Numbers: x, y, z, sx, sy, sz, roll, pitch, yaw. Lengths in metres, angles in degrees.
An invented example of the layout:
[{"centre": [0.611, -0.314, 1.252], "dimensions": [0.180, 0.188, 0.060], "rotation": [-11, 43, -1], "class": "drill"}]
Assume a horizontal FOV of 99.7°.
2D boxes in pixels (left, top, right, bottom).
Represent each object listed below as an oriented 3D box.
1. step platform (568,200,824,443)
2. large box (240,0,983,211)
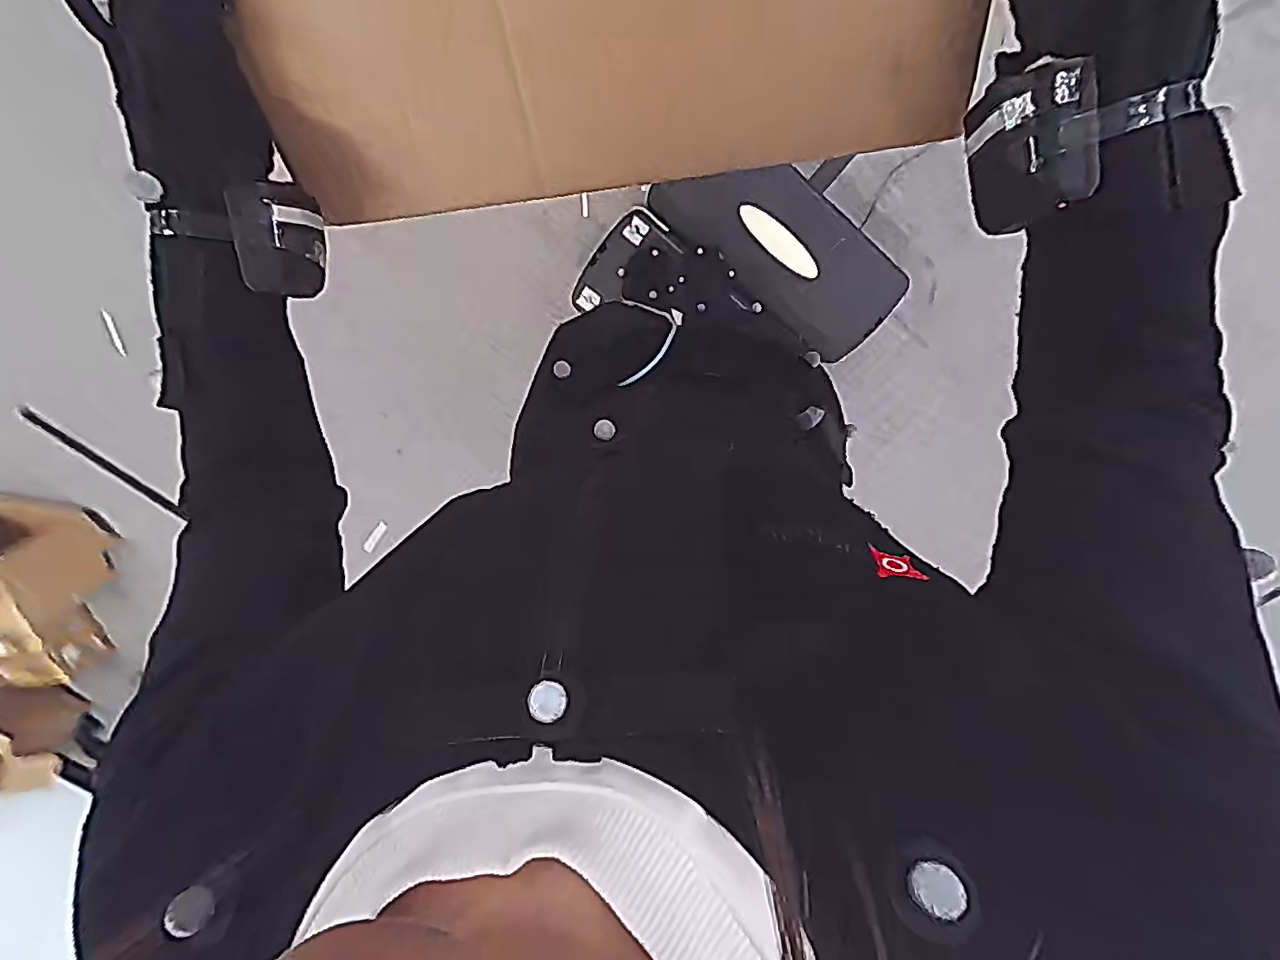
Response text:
[{"centre": [0.149, -0.402, 1.421], "dimensions": [0.684, 0.204, 0.286], "rotation": [37, 114, -8], "class": "step platform"}, {"centre": [-0.021, -0.408, 0.353], "dimensions": [0.408, 0.320, 0.320], "rotation": [-2, 133, 11], "class": "large box"}]
